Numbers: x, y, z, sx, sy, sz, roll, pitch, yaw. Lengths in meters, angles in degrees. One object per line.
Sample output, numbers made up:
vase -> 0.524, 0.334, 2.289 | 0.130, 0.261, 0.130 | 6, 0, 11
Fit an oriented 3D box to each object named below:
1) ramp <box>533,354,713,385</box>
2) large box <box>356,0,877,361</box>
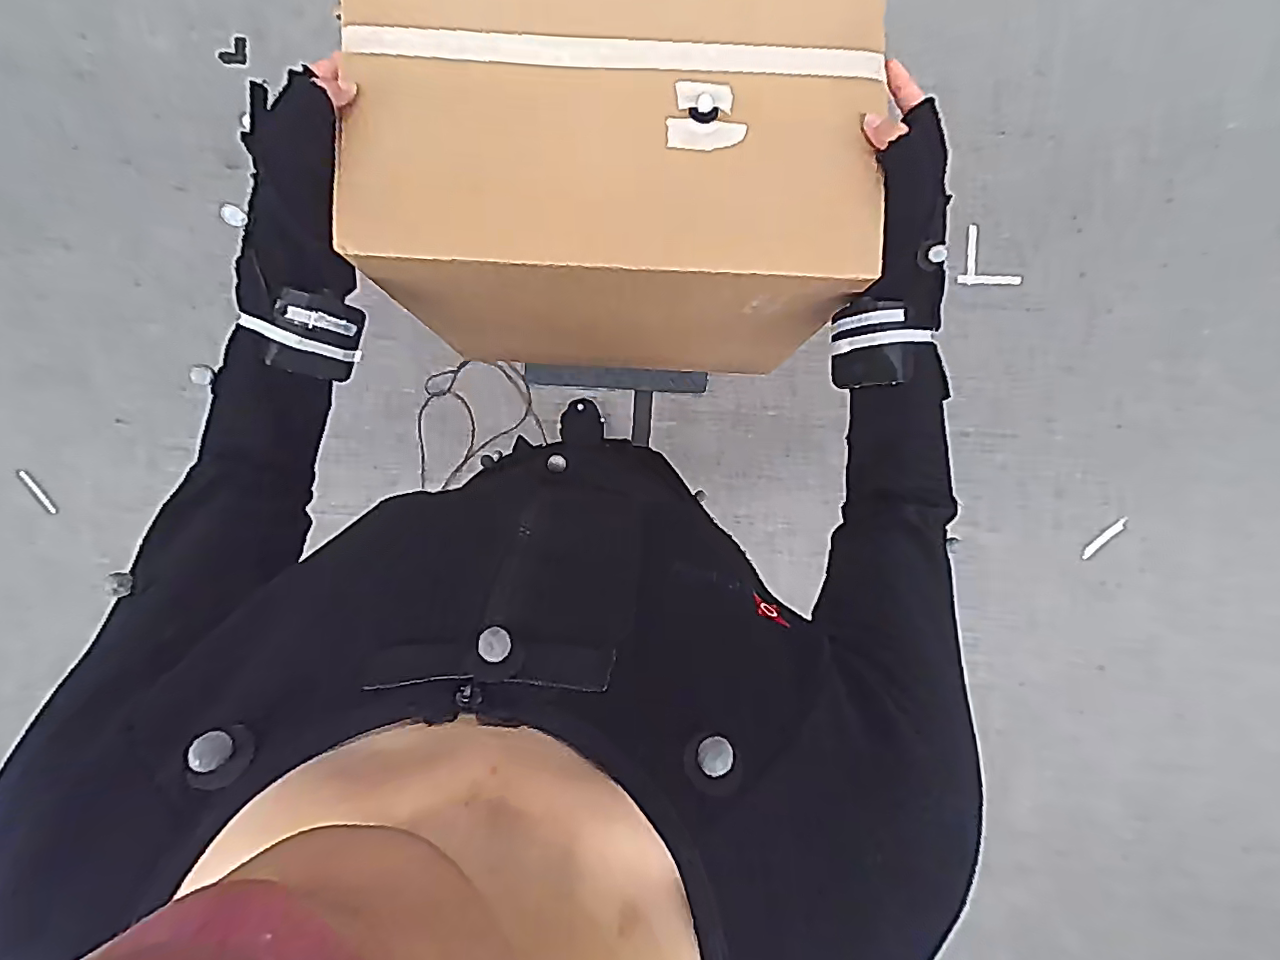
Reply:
ramp -> -0.023, -0.753, 1.354 | 0.509, 0.206, 0.991 | 1, 93, -2
large box -> -0.019, -0.319, 0.568 | 0.408, 0.320, 0.320 | 2, 88, -1
